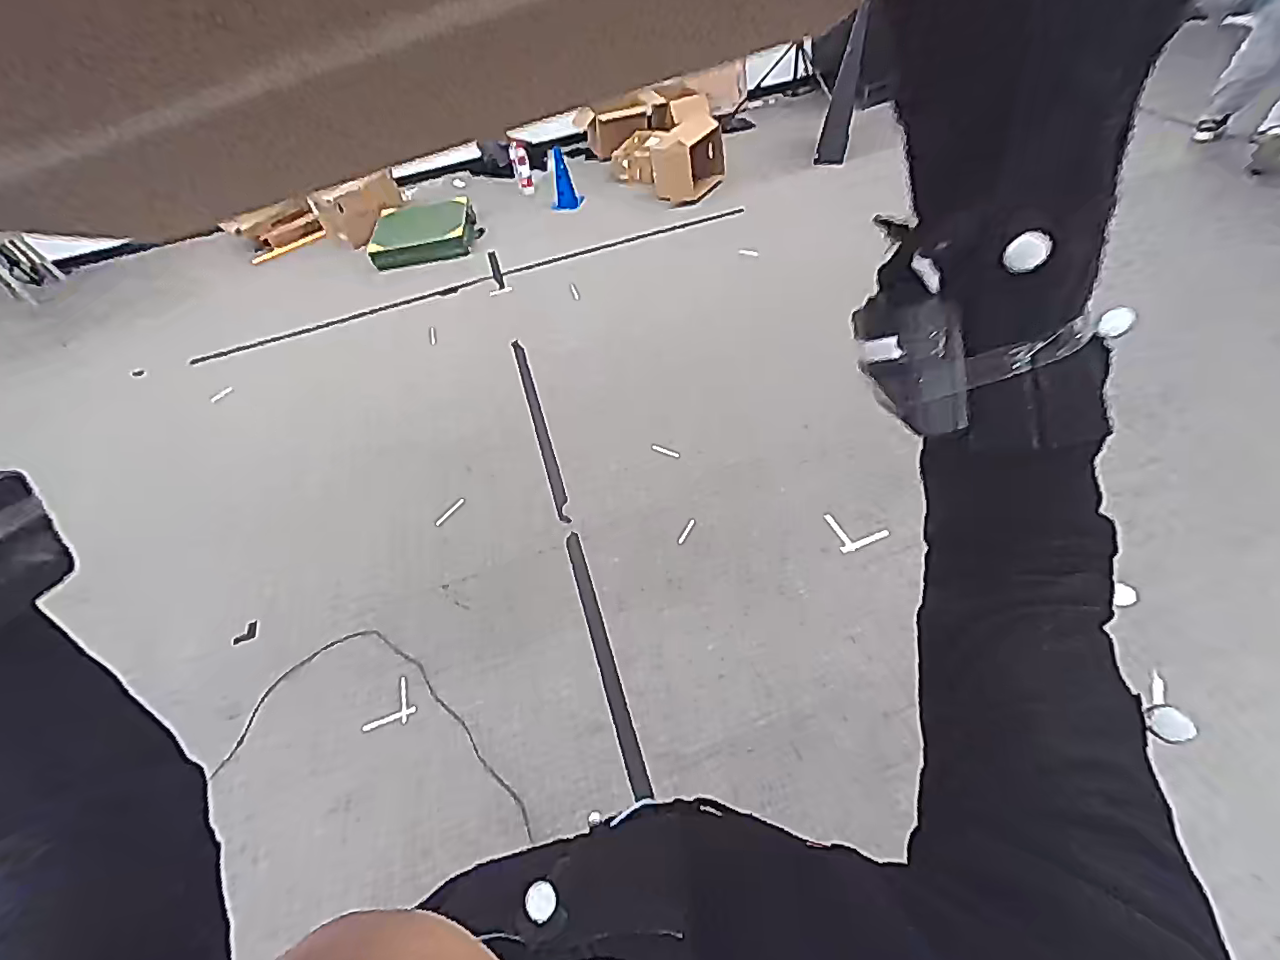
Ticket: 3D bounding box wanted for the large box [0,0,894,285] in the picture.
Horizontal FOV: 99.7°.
[{"bbox_3d":[-0.115,-0.278,0.162,0.408,0.320,0.320,-16,18,5],"label":"large box"}]
